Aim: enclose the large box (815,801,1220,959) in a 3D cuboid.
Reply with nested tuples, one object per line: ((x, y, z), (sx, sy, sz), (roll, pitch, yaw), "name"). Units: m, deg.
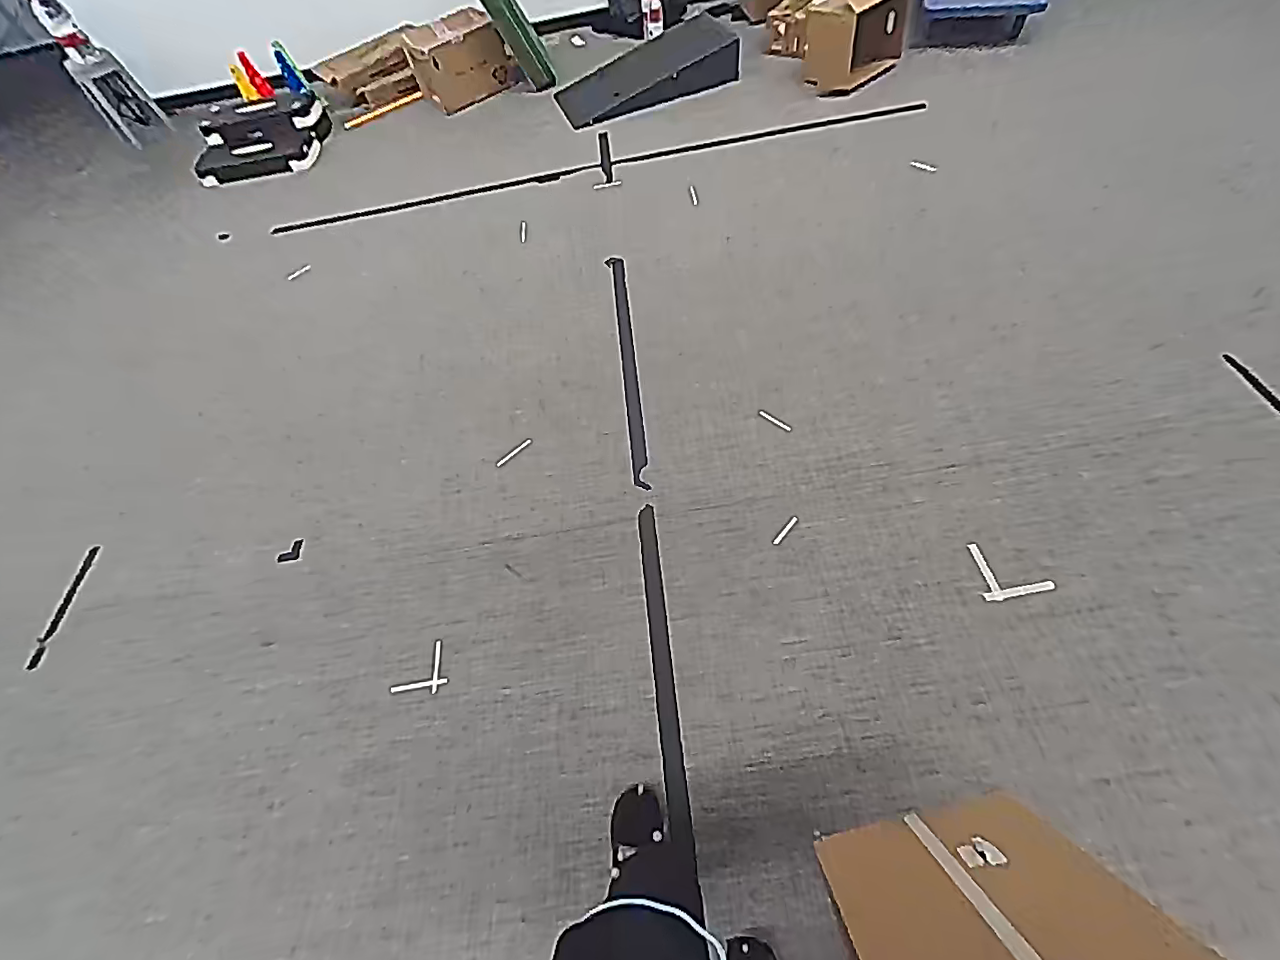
((0.448, 0.656, 0.632), (0.320, 0.408, 0.320), (-15, 80, 3), "large box")
